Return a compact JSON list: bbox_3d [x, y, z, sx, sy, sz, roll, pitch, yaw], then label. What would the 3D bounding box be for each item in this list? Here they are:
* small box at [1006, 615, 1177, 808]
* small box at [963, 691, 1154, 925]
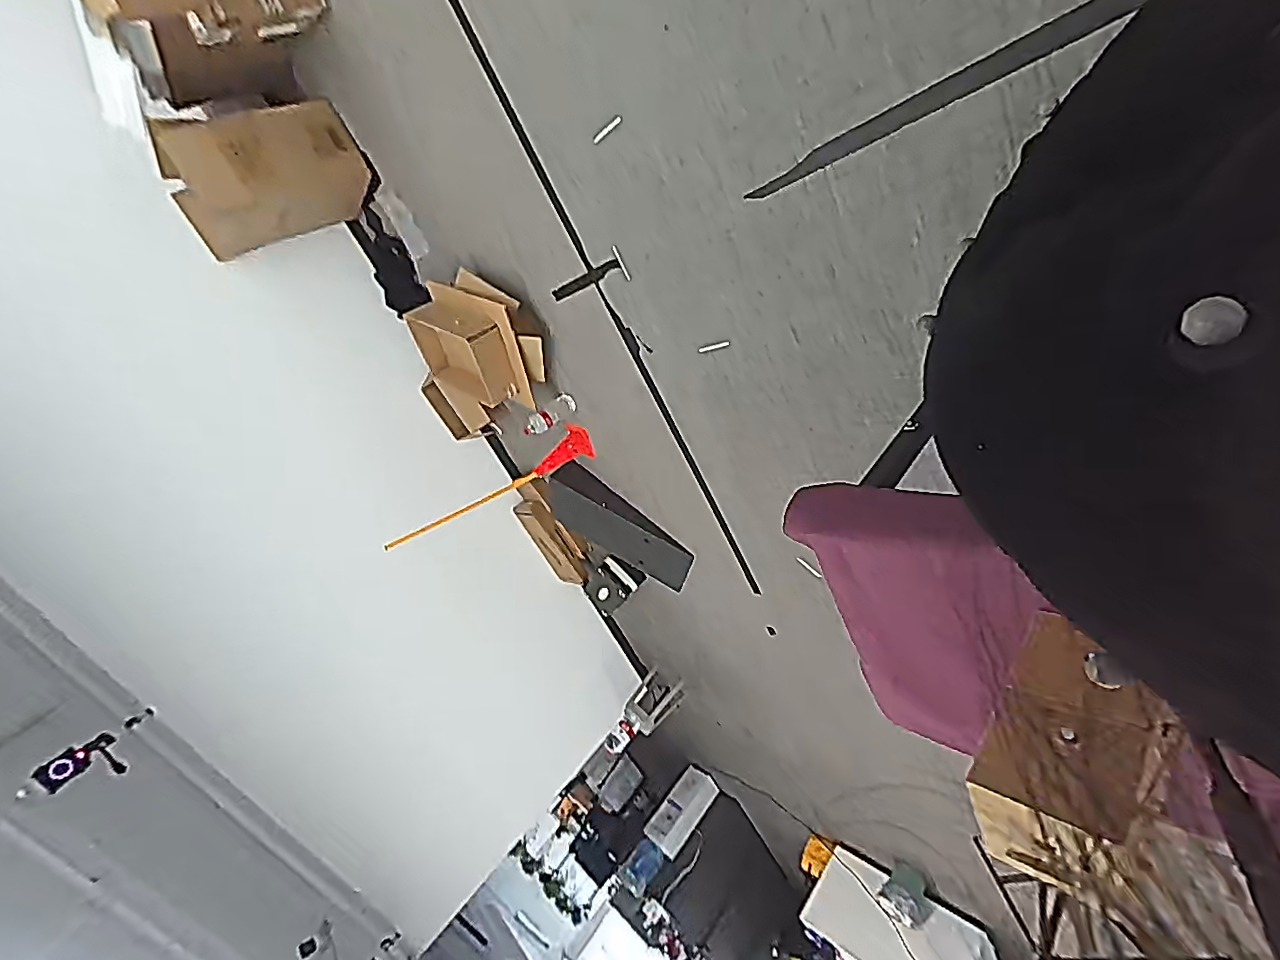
[{"bbox_3d":[0.676,0.331,0.810,0.168,0.176,0.179,5,129,51],"label":"small box"},{"bbox_3d":[0.569,0.428,0.731,0.168,0.176,0.179,4,127,50],"label":"small box"}]
